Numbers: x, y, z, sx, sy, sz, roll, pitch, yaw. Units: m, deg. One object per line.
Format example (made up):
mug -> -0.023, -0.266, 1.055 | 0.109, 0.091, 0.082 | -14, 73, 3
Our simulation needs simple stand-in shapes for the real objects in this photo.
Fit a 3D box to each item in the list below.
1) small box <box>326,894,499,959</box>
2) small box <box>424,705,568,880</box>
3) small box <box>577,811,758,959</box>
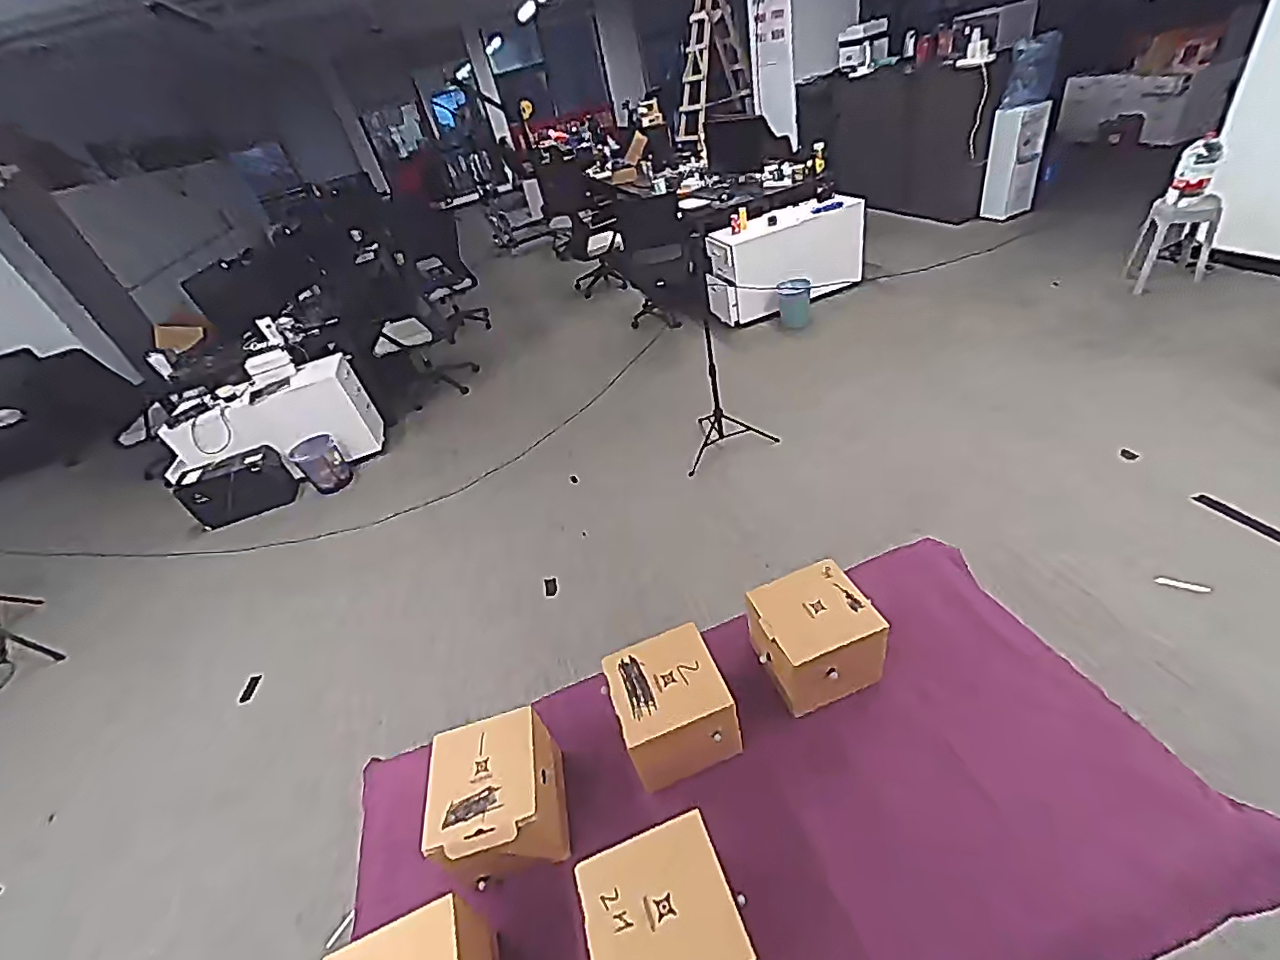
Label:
small box -> -0.267, 0.663, 0.658 | 0.168, 0.176, 0.179 | -21, 38, -11
small box -> -0.219, 0.498, 0.855 | 0.168, 0.176, 0.179 | -16, 37, -3
small box -> 0.039, 0.564, 0.681 | 0.179, 0.176, 0.168 | -21, 37, -7
